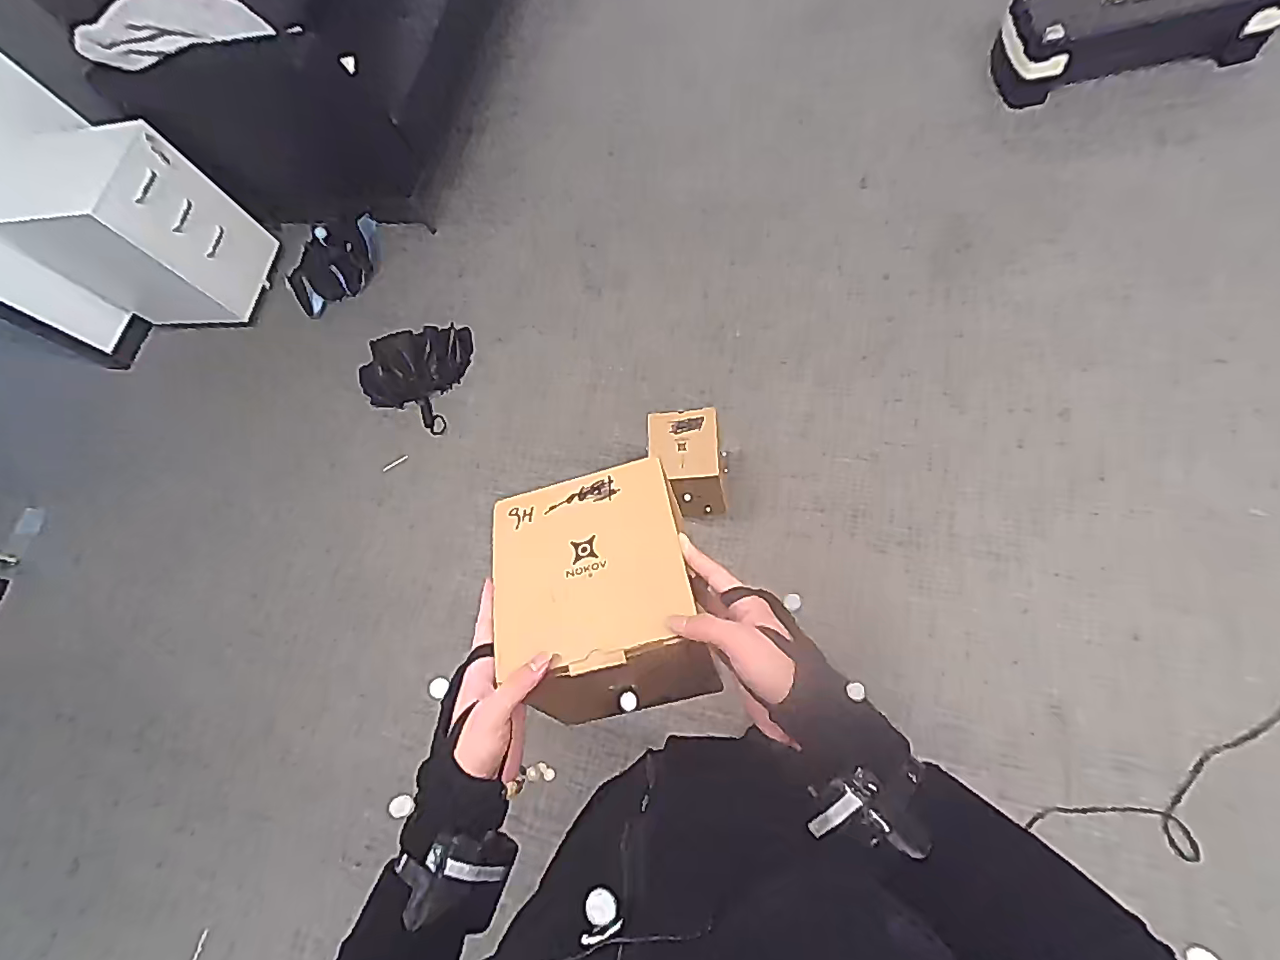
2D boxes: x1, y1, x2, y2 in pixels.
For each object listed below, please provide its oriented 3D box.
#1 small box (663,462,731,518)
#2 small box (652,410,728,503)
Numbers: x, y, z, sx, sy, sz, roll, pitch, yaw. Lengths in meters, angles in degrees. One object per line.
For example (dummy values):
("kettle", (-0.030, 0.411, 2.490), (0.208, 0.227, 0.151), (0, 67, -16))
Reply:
("small box", (0.157, 0.000, 1.483), (0.168, 0.176, 0.179), (-6, 68, 12))
("small box", (0.124, -0.053, 1.330), (0.168, 0.176, 0.179), (-5, 71, 13))
